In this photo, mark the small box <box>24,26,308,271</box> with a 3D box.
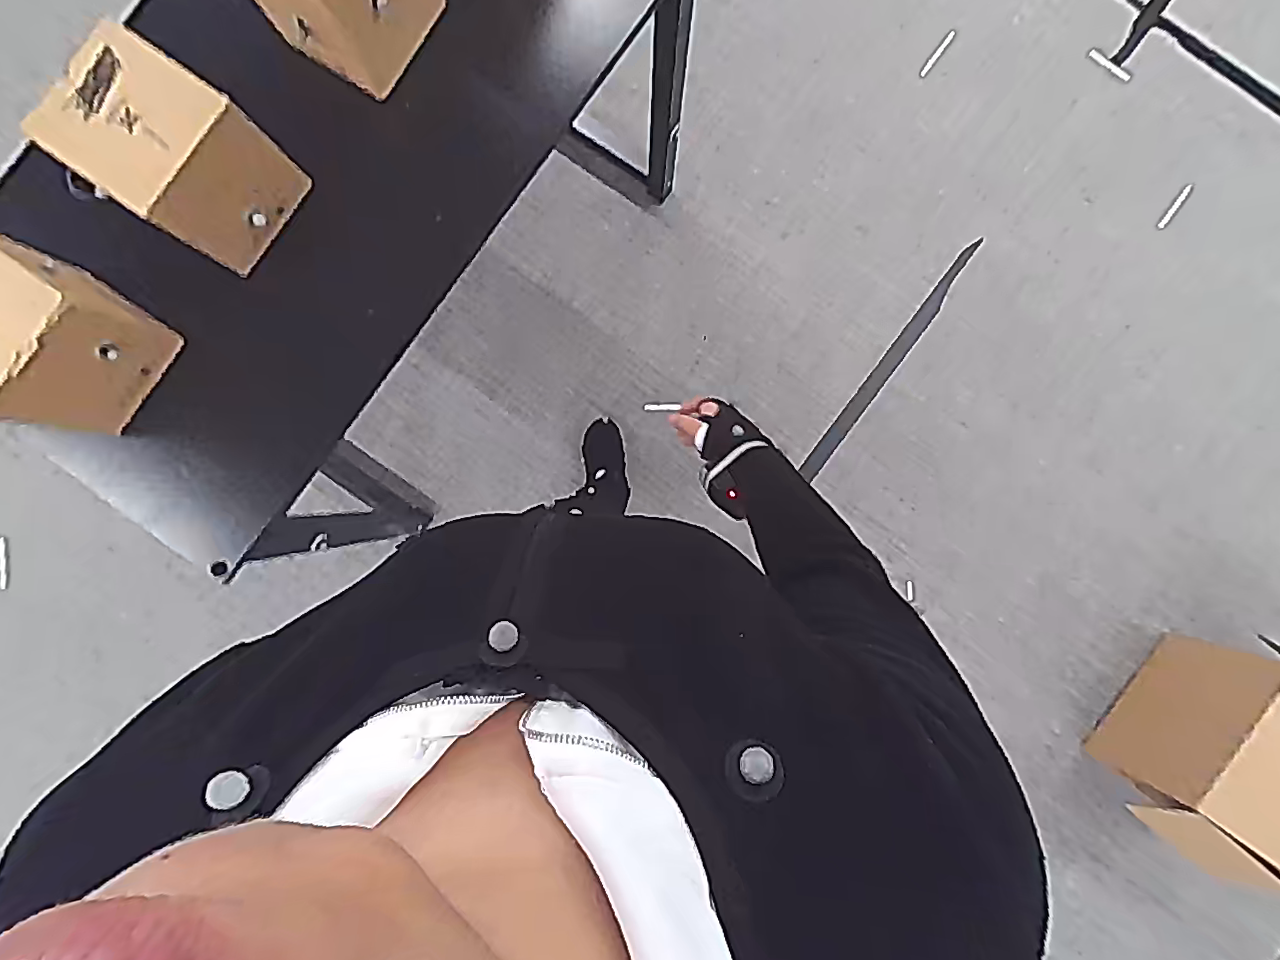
[{"bbox_3d":[-0.586,-0.405,0.696,0.179,0.176,0.168,35,88,0],"label":"small box"}]

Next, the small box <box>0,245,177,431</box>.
[{"bbox_3d":[-0.760,-0.177,0.685,0.179,0.176,0.168,34,86,1],"label":"small box"}]

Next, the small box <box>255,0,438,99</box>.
[{"bbox_3d":[-0.397,-0.660,0.709,0.168,0.176,0.179,31,88,0],"label":"small box"}]
